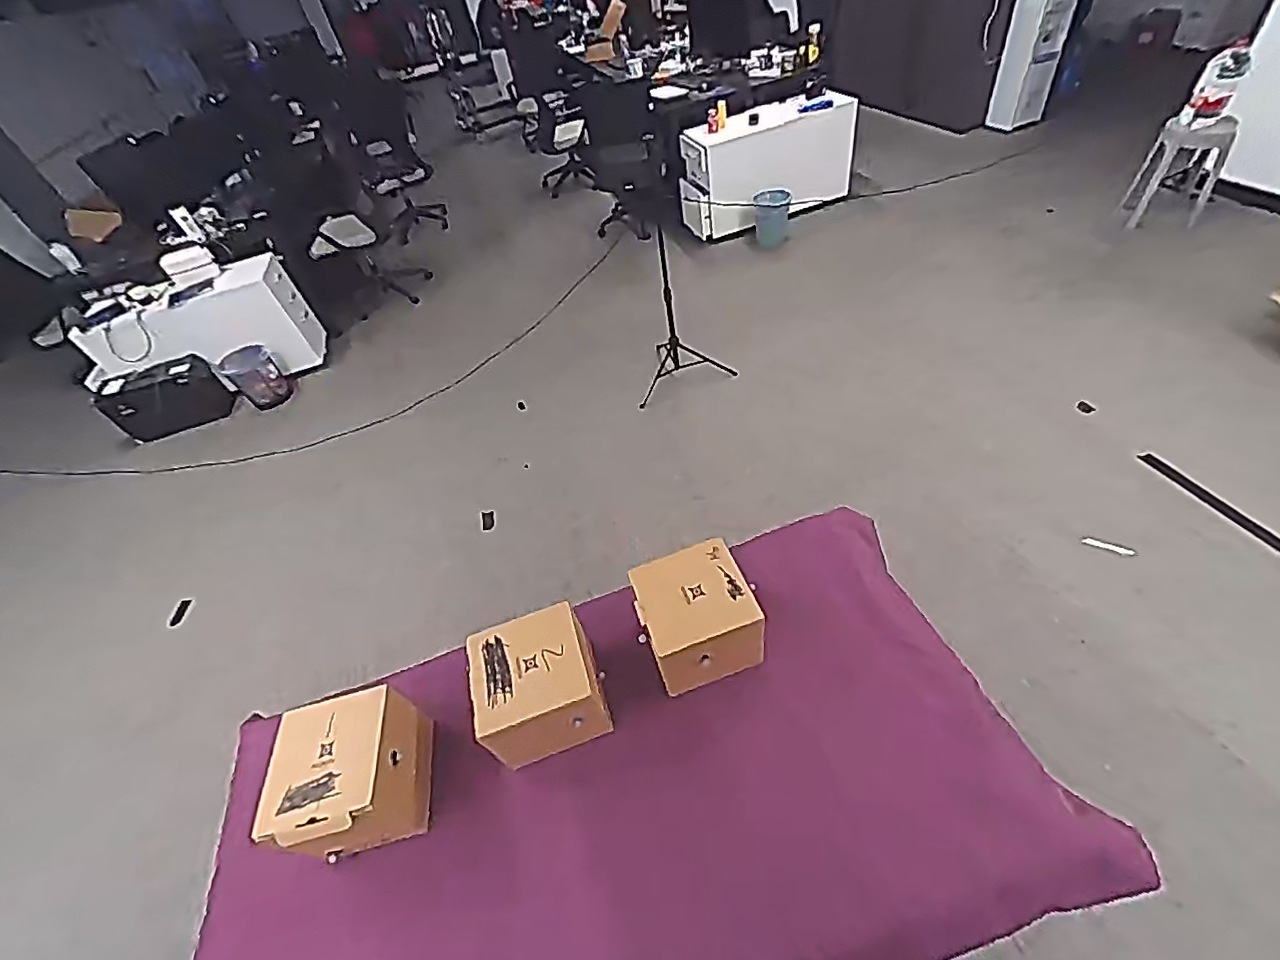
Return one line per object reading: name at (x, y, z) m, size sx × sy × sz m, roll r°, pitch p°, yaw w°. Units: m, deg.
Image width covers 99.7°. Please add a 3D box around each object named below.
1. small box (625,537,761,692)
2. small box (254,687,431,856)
small box at (0.093, 0.231, 0.910) m, size 0.179 × 0.176 × 0.168 m, roll -20°, pitch 49°, yaw -4°
small box at (-0.436, 0.452, 0.829) m, size 0.168 × 0.176 × 0.179 m, roll -15°, pitch 46°, yaw -2°
